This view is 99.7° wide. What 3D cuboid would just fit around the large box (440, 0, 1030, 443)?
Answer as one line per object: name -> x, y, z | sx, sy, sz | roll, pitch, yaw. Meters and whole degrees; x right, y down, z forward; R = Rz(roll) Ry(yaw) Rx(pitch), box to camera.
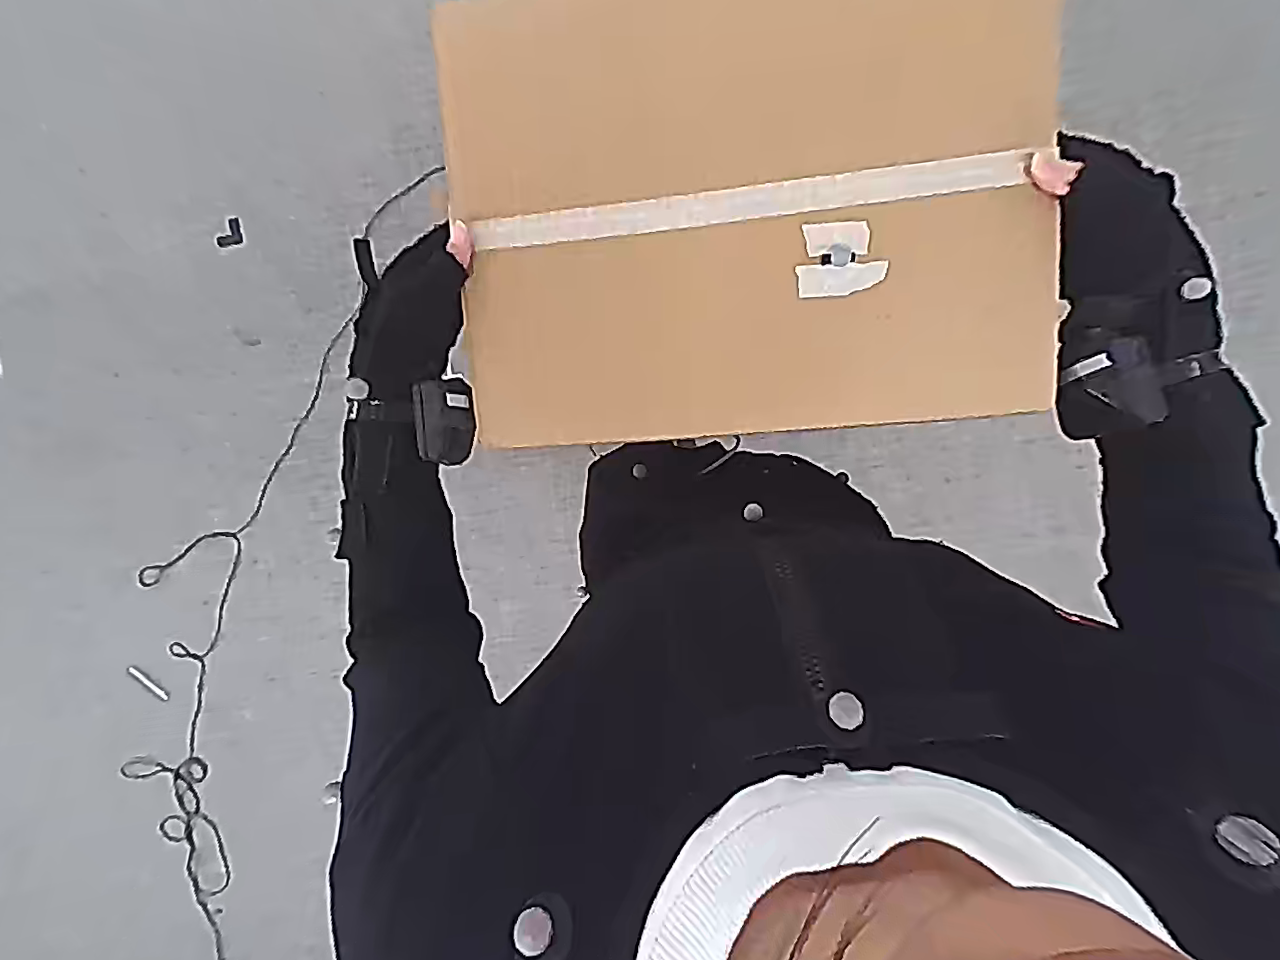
large box -> 0.078, -0.217, 0.532 | 0.408, 0.320, 0.320 | -4, 98, 6
